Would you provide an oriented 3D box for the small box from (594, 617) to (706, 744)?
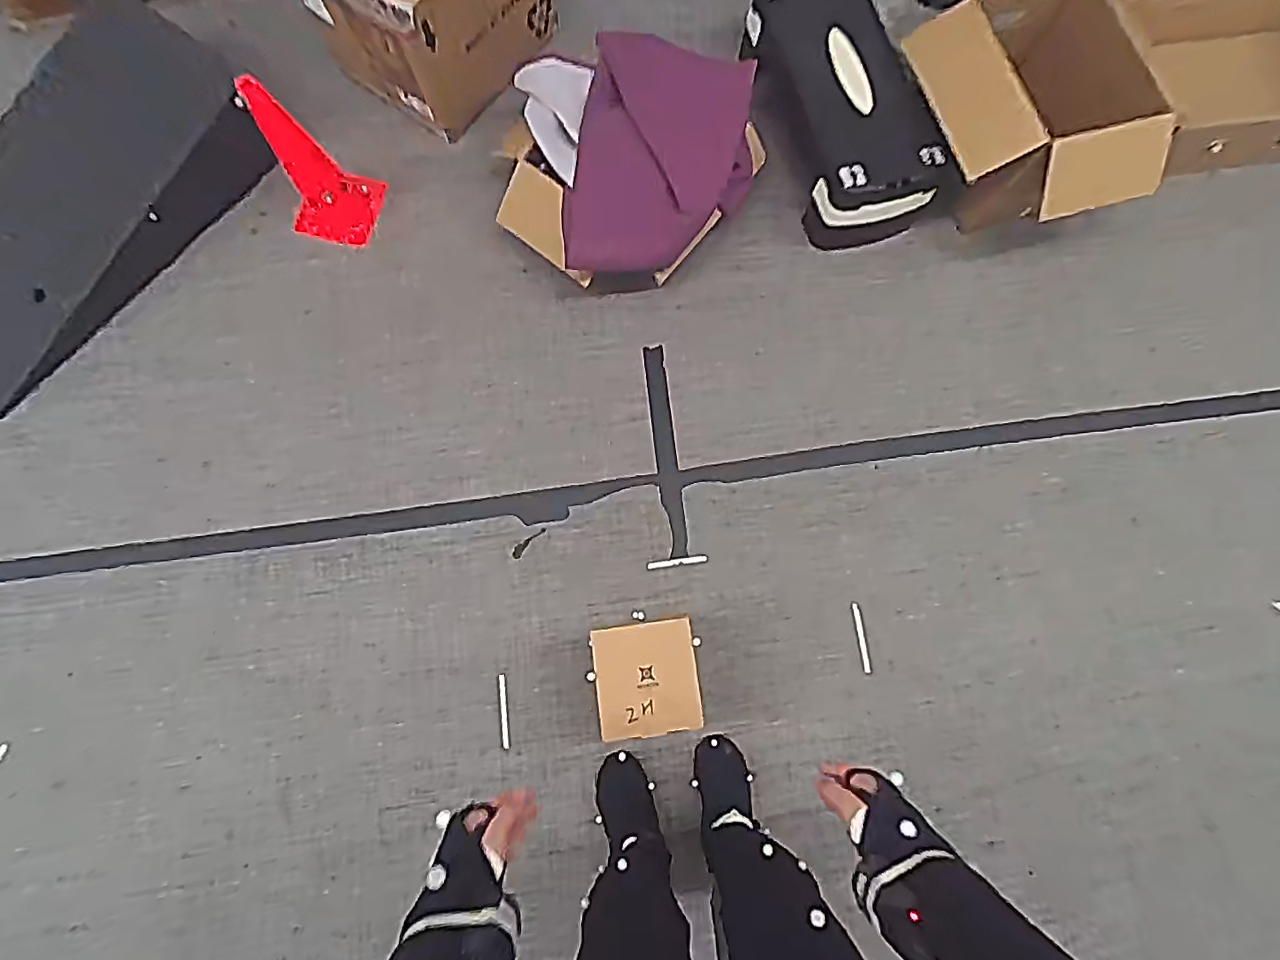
[{"bbox_3d":[0.011,0.336,0.939,0.168,0.176,0.179,-7,79,-2],"label":"small box"}]
